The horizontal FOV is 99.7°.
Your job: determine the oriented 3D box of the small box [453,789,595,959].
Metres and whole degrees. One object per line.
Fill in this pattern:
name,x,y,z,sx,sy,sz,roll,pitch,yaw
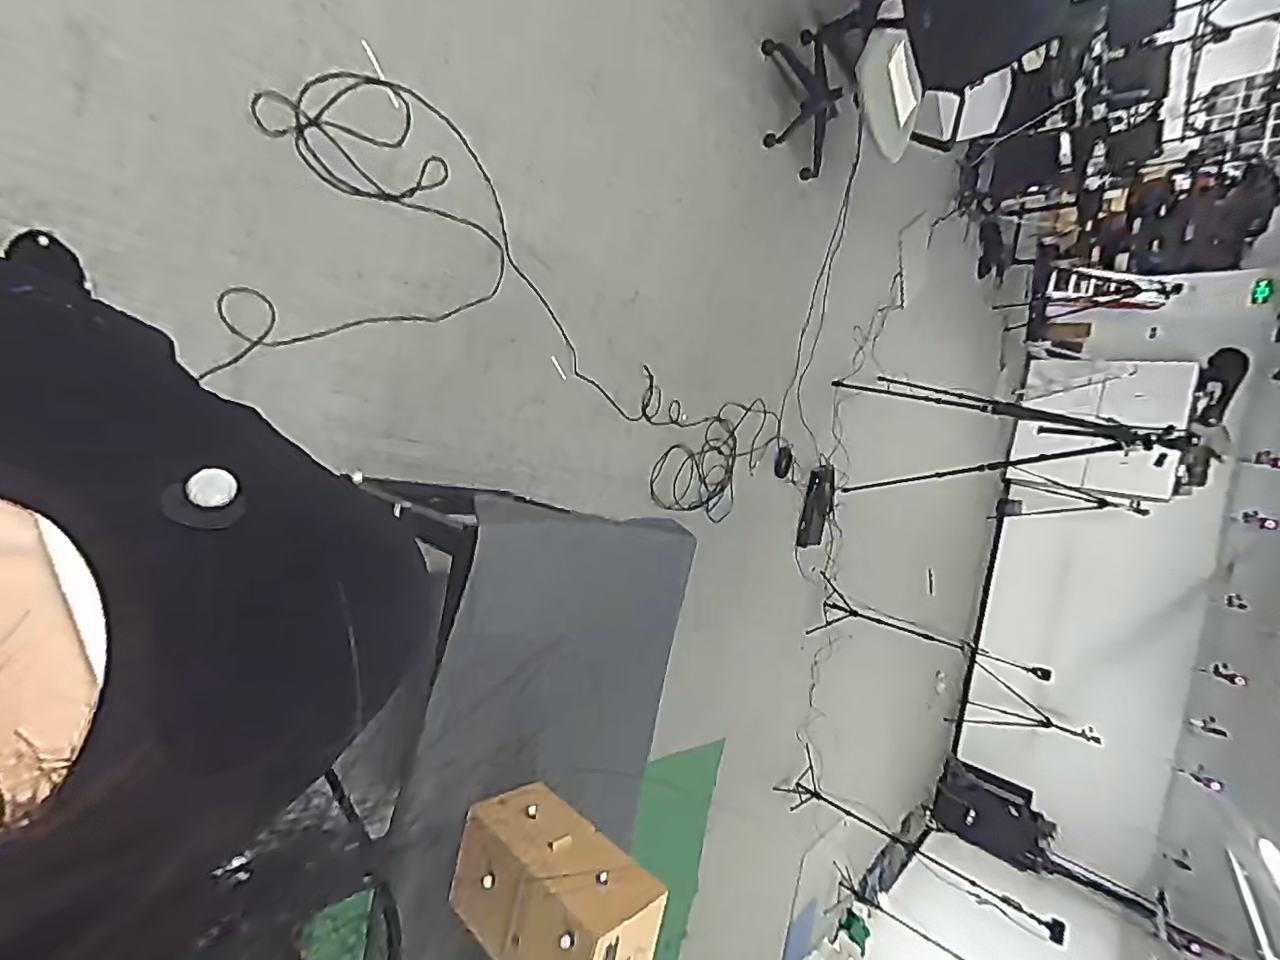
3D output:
small box,-0.208,0.683,0.962,0.168,0.176,0.179,13,88,-49
